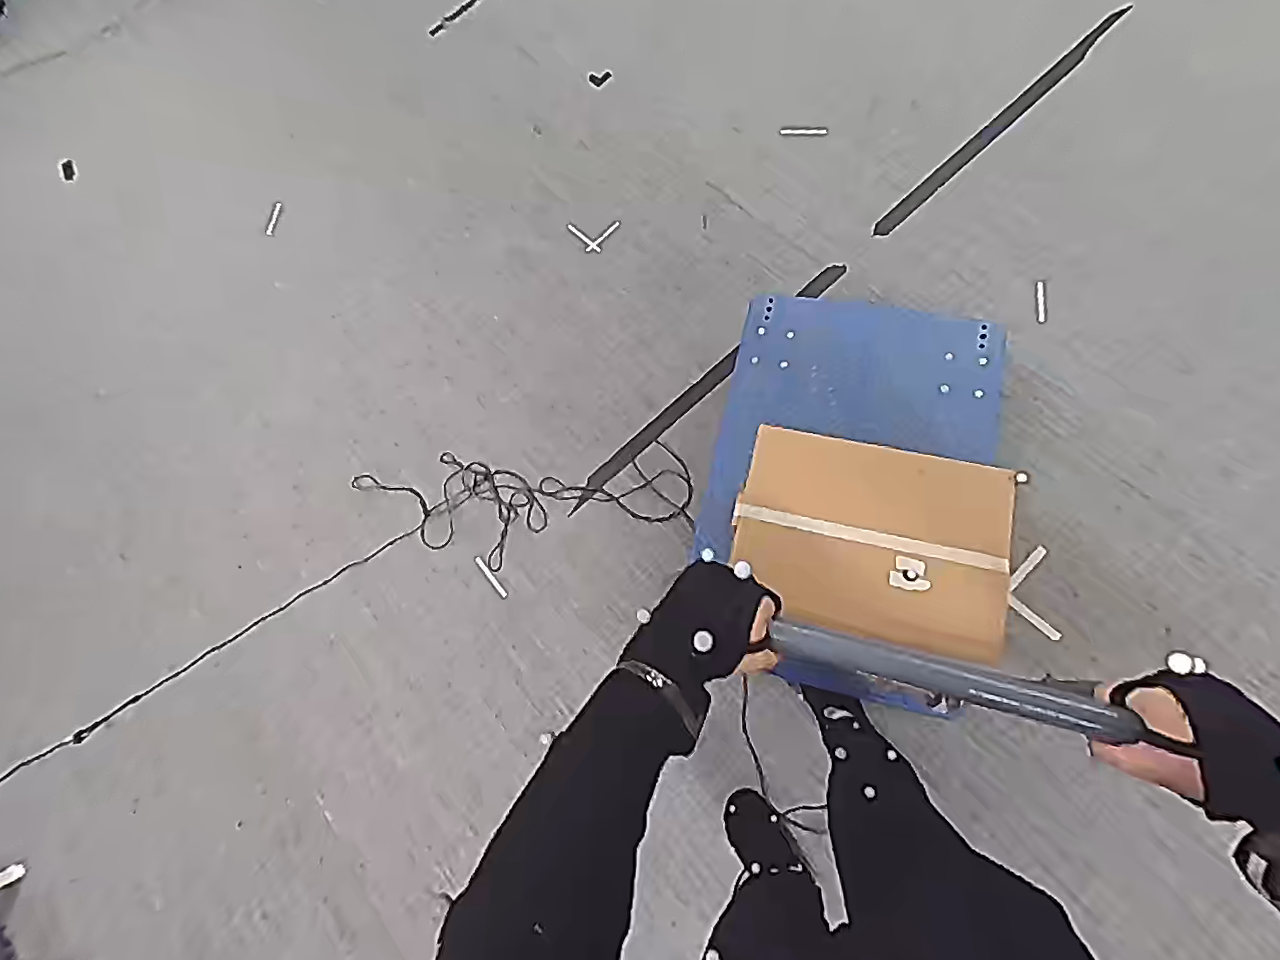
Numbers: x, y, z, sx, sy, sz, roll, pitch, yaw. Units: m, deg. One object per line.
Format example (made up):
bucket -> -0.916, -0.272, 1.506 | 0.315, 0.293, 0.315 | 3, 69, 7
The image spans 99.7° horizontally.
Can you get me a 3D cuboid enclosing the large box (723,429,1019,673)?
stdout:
large box -> 0.377, 0.136, 0.976 | 0.408, 0.320, 0.320 | 13, 76, 12
